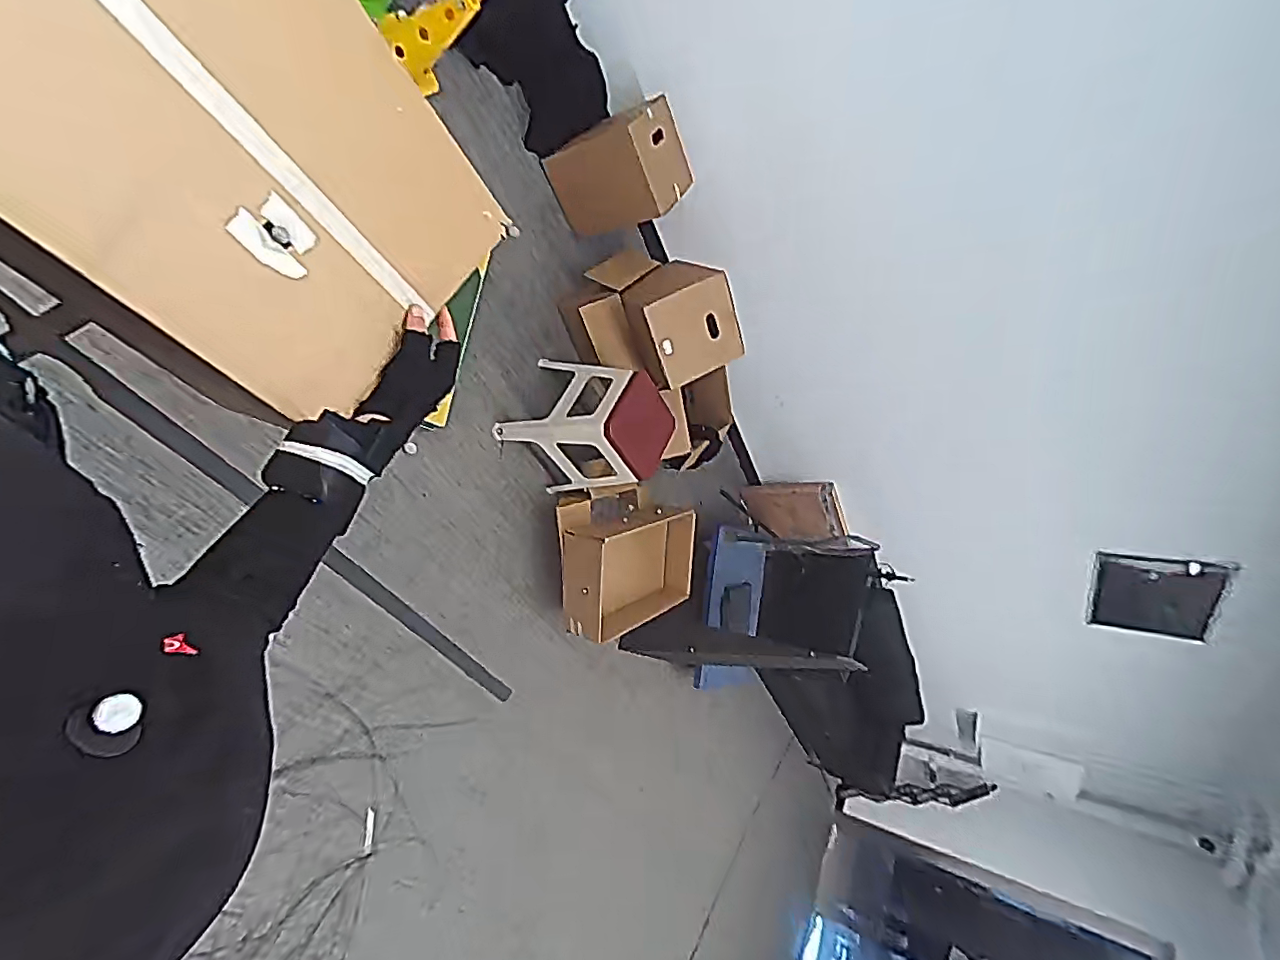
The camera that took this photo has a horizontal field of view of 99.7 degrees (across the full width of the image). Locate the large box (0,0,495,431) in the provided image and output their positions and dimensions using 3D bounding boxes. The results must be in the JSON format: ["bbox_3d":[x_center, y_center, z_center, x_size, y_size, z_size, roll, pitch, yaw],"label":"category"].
[{"bbox_3d":[-0.434,-0.301,0.507,0.320,0.320,0.408,-60,140,-20],"label":"large box"}]
